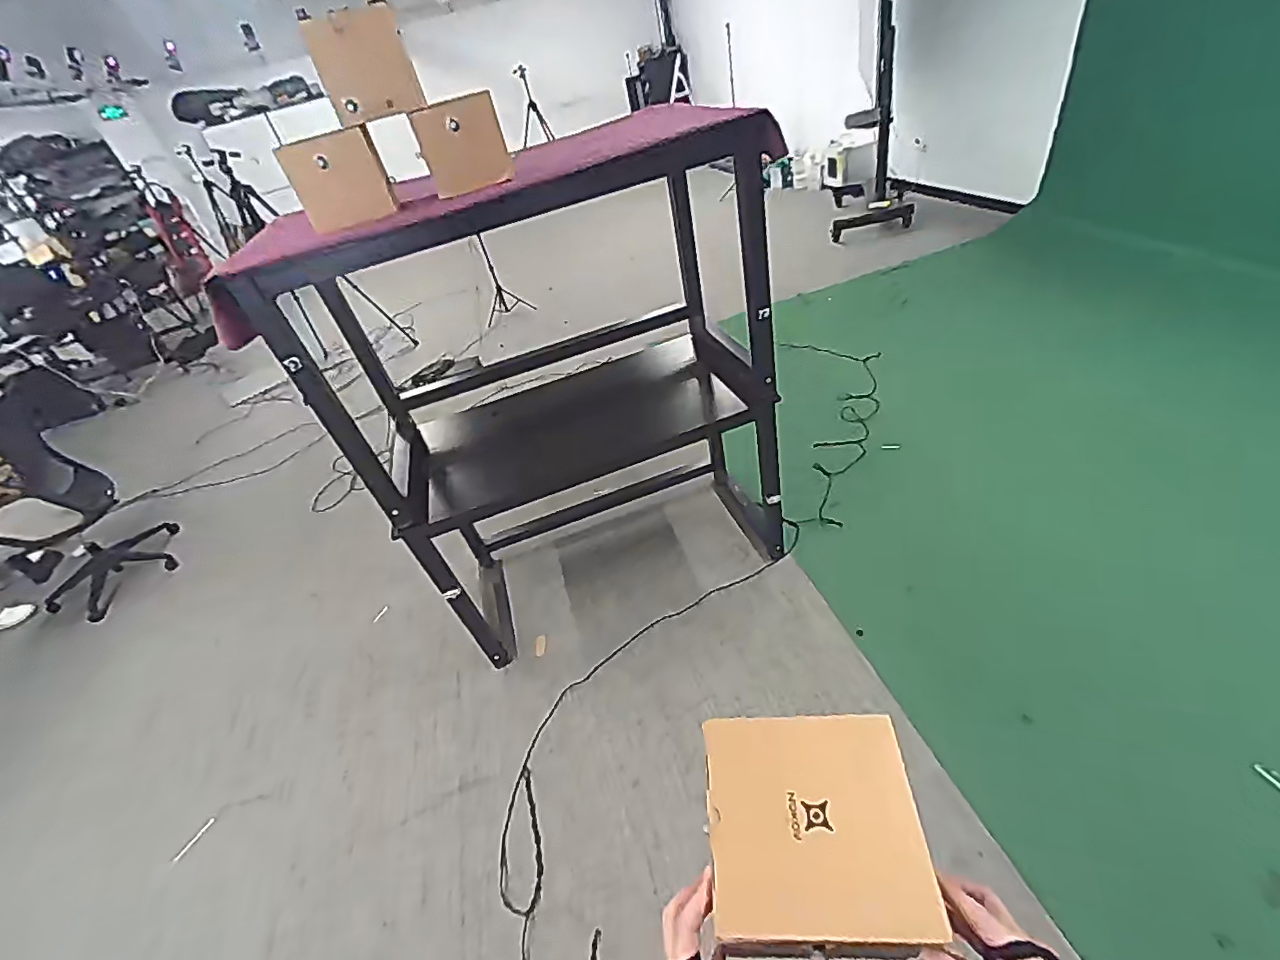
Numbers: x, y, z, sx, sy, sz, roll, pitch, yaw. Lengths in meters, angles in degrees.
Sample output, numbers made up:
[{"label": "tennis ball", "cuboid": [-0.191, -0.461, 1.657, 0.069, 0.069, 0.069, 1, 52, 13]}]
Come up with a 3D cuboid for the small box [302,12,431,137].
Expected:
[{"label": "small box", "cuboid": [-0.540, -0.813, 1.097, 0.168, 0.176, 0.179, -18, 37, -5]}]

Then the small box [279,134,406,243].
[{"label": "small box", "cuboid": [-0.638, -0.637, 1.180, 0.179, 0.176, 0.168, -21, 39, -7]}]

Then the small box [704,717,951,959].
[{"label": "small box", "cuboid": [0.158, 0.342, 0.517, 0.179, 0.176, 0.168, -6, 45, 8]}]

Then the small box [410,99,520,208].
[{"label": "small box", "cuboid": [-0.384, -0.723, 1.199, 0.179, 0.176, 0.168, -20, 38, -5]}]
